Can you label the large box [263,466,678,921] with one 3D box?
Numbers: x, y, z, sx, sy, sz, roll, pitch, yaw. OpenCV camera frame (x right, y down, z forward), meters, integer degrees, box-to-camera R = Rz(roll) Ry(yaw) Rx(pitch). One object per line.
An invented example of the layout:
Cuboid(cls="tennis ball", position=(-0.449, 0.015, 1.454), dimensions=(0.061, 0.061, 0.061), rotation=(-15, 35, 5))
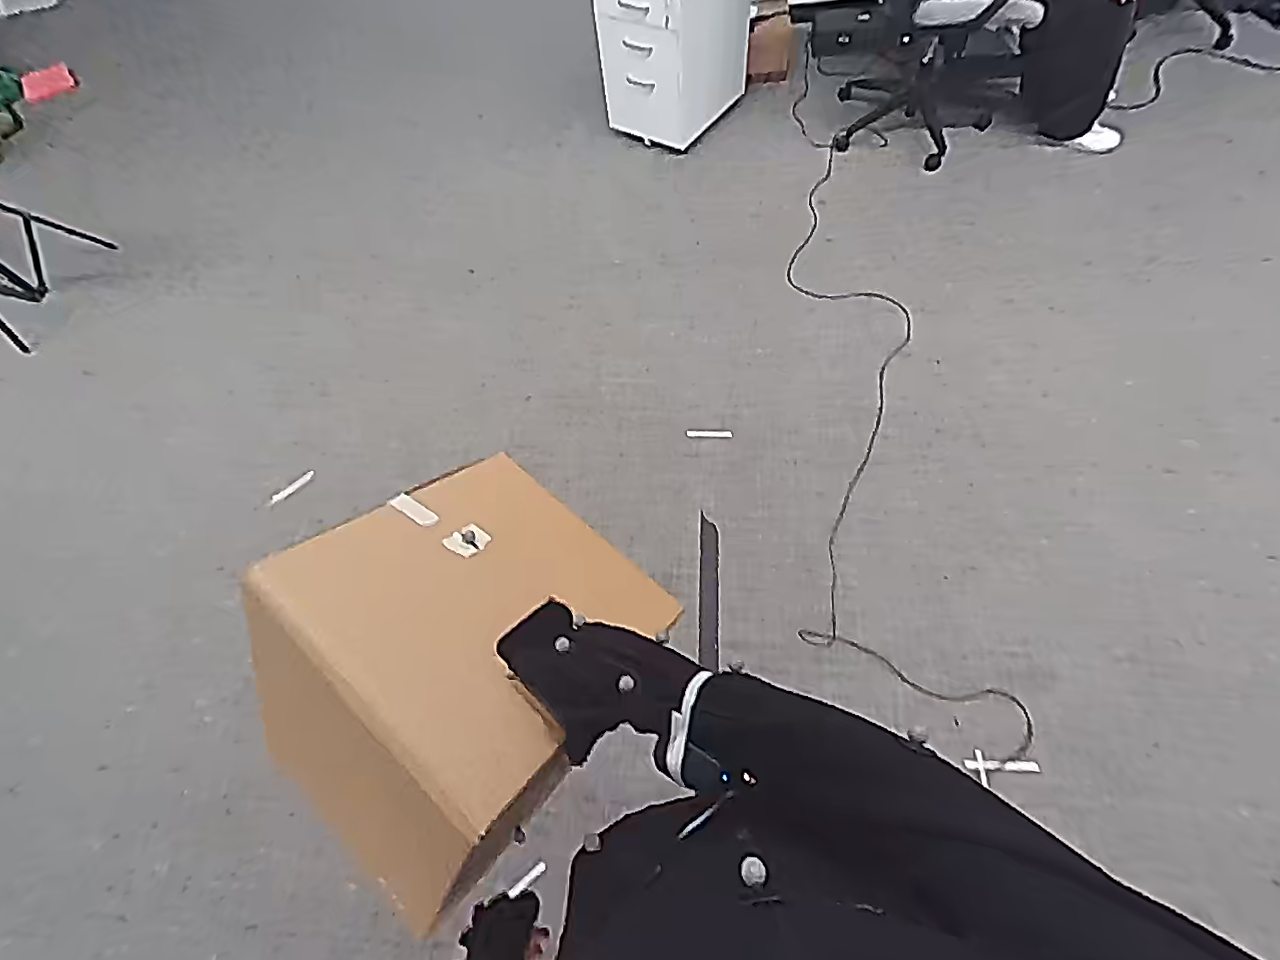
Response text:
Cuboid(cls="large box", position=(-0.216, 0.259, 0.687), dimensions=(0.320, 0.408, 0.320), rotation=(39, 41, 16))
